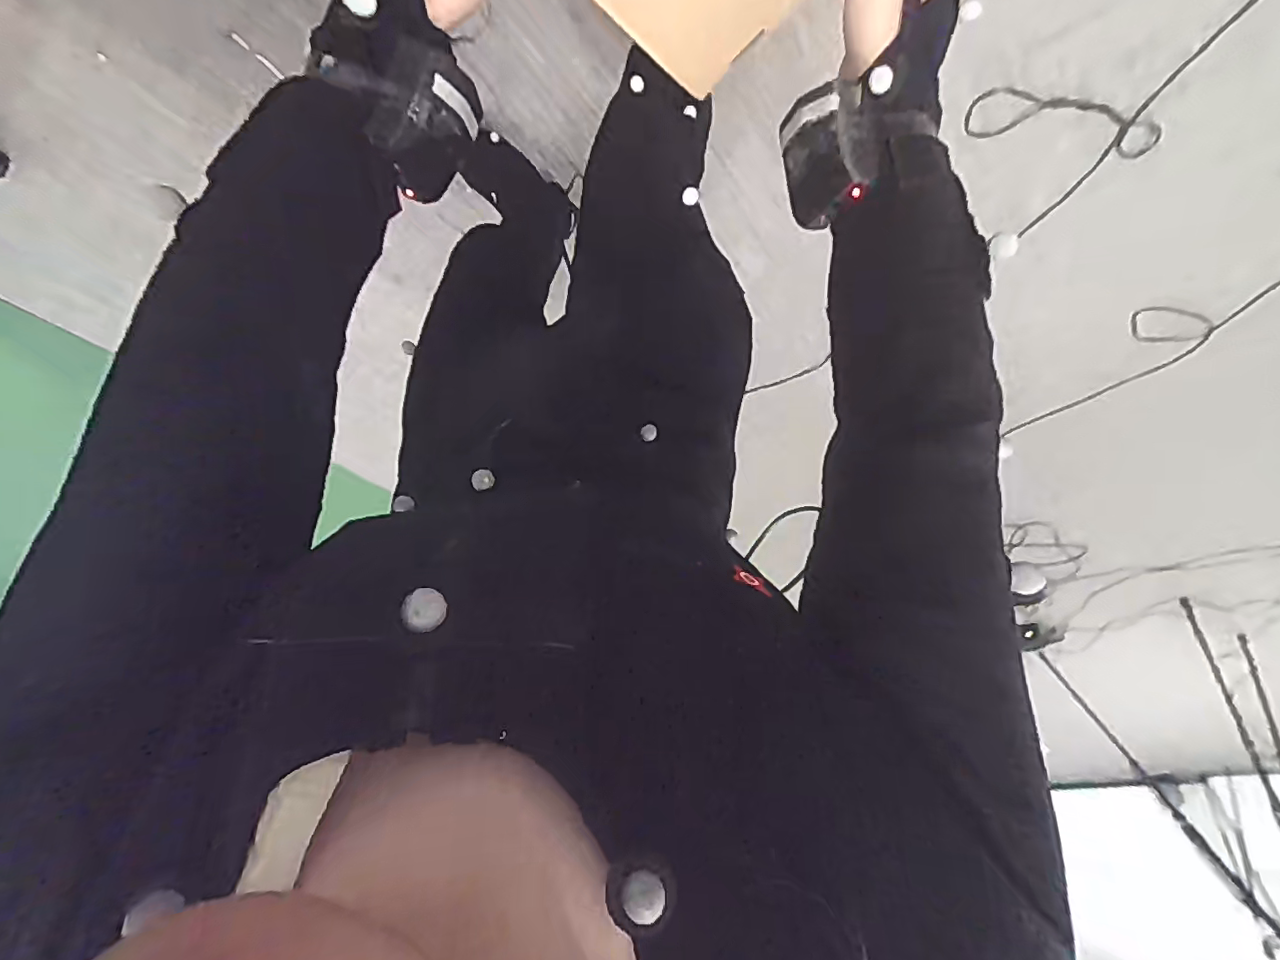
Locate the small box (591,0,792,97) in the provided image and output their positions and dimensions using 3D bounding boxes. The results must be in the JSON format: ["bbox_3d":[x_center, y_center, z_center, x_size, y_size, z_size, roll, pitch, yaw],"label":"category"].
[{"bbox_3d":[0.033,-0.394,0.313,0.179,0.176,0.168,22,152,-35],"label":"small box"}]
